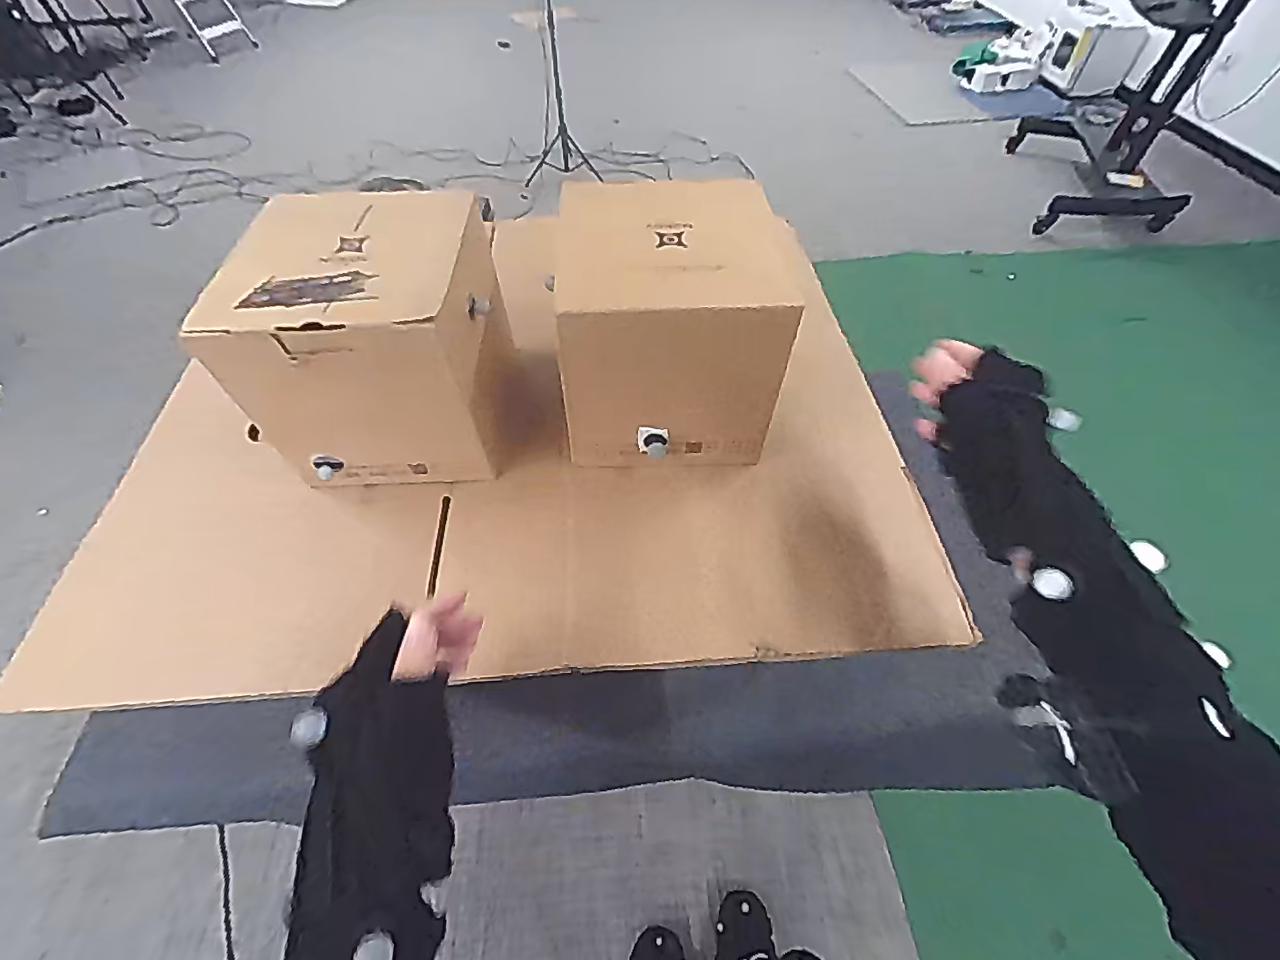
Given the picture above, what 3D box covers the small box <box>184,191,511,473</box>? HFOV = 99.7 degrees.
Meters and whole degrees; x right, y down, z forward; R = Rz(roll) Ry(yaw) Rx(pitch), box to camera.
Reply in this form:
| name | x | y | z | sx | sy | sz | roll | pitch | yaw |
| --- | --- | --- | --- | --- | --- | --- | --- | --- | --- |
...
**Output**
| name | x | y | z | sx | sy | sz | roll | pitch | yaw |
| --- | --- | --- | --- | --- | --- | --- | --- | --- | --- |
| small box | -0.213 | -0.116 | 0.460 | 0.168 | 0.176 | 0.179 | -2 | 53 | -1 |
